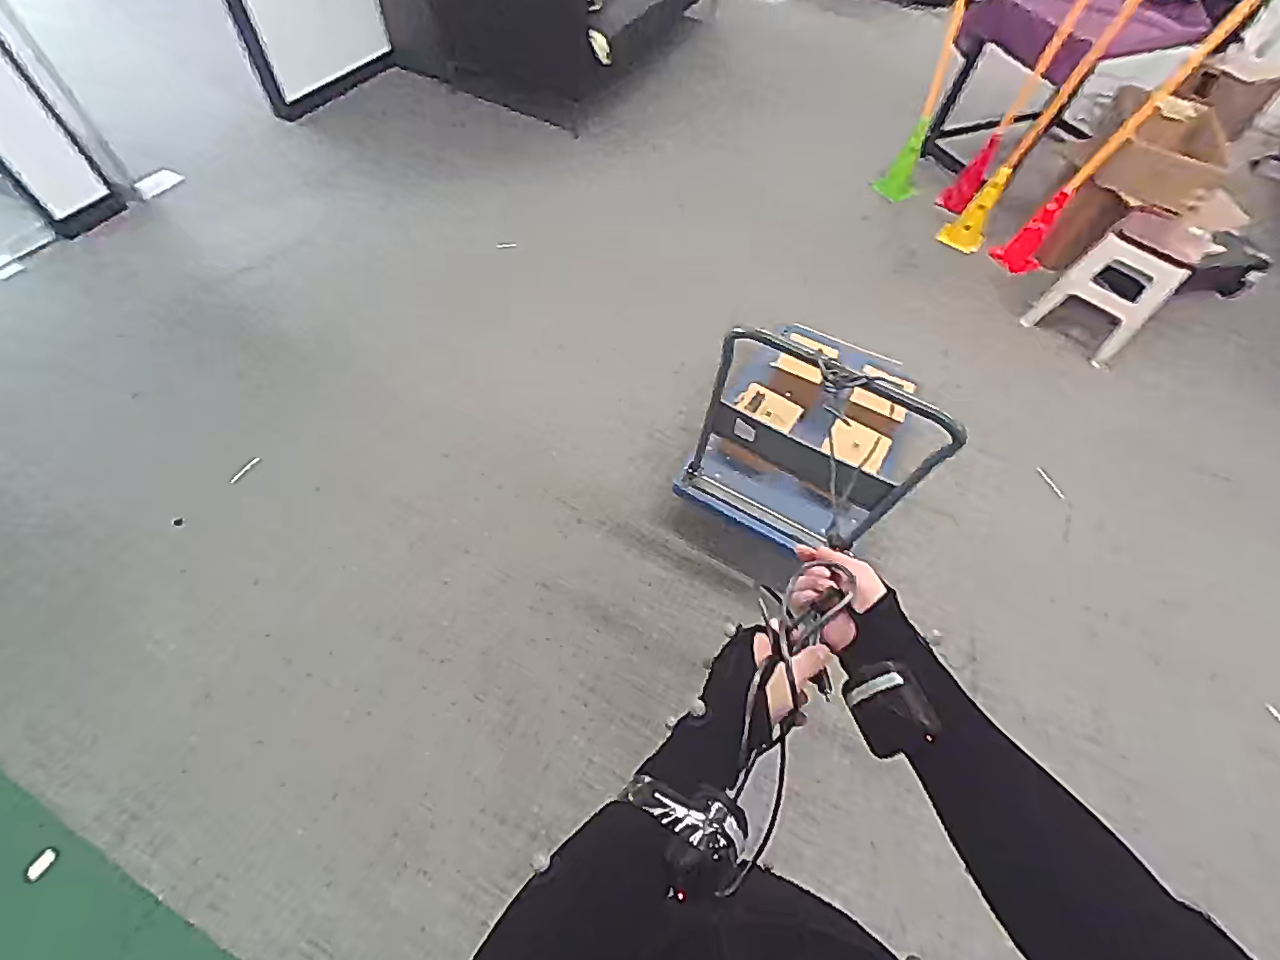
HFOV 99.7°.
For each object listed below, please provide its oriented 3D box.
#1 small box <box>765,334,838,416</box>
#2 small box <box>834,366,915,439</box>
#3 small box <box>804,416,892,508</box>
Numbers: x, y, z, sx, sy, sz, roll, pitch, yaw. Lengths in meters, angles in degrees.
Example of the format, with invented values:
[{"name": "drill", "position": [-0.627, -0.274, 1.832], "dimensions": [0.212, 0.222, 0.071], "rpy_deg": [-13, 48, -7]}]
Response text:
[{"name": "small box", "position": [0.528, -0.343, 1.794], "dimensions": [0.168, 0.176, 0.179], "rpy_deg": [25, 60, 11]}, {"name": "small box", "position": [0.749, -0.227, 1.738], "dimensions": [0.168, 0.176, 0.179], "rpy_deg": [26, 61, 13]}, {"name": "small box", "position": [0.618, -0.051, 1.623], "dimensions": [0.168, 0.176, 0.179], "rpy_deg": [30, 62, 14]}]
